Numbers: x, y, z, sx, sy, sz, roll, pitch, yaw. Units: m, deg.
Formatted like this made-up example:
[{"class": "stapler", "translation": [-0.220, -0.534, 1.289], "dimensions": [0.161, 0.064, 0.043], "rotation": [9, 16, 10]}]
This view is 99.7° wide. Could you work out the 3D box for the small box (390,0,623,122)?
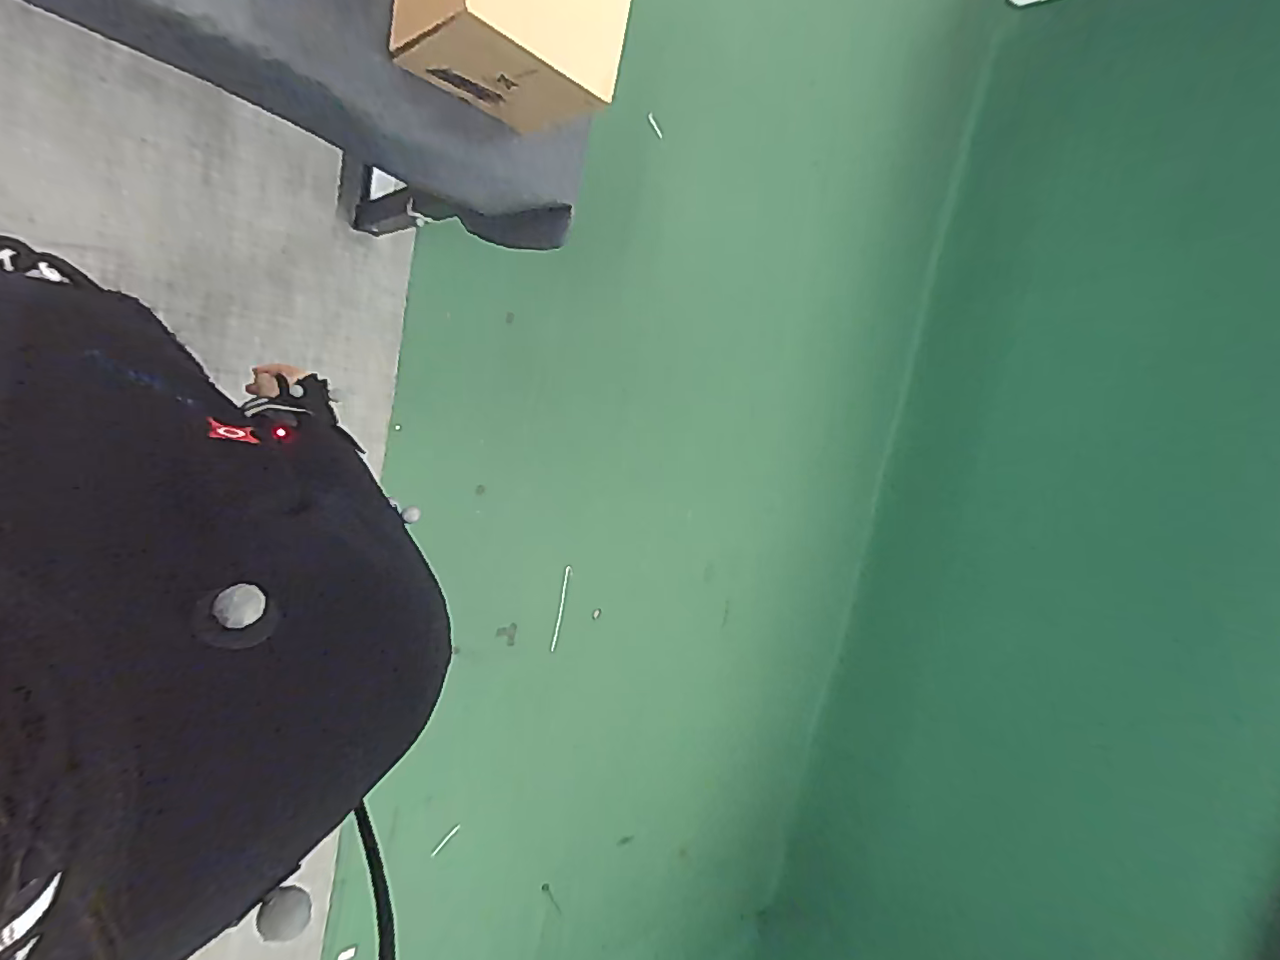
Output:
[{"class": "small box", "translation": [-0.125, -0.498, 0.540], "dimensions": [0.168, 0.179, 0.176], "rotation": [-1, 108, -45]}]
